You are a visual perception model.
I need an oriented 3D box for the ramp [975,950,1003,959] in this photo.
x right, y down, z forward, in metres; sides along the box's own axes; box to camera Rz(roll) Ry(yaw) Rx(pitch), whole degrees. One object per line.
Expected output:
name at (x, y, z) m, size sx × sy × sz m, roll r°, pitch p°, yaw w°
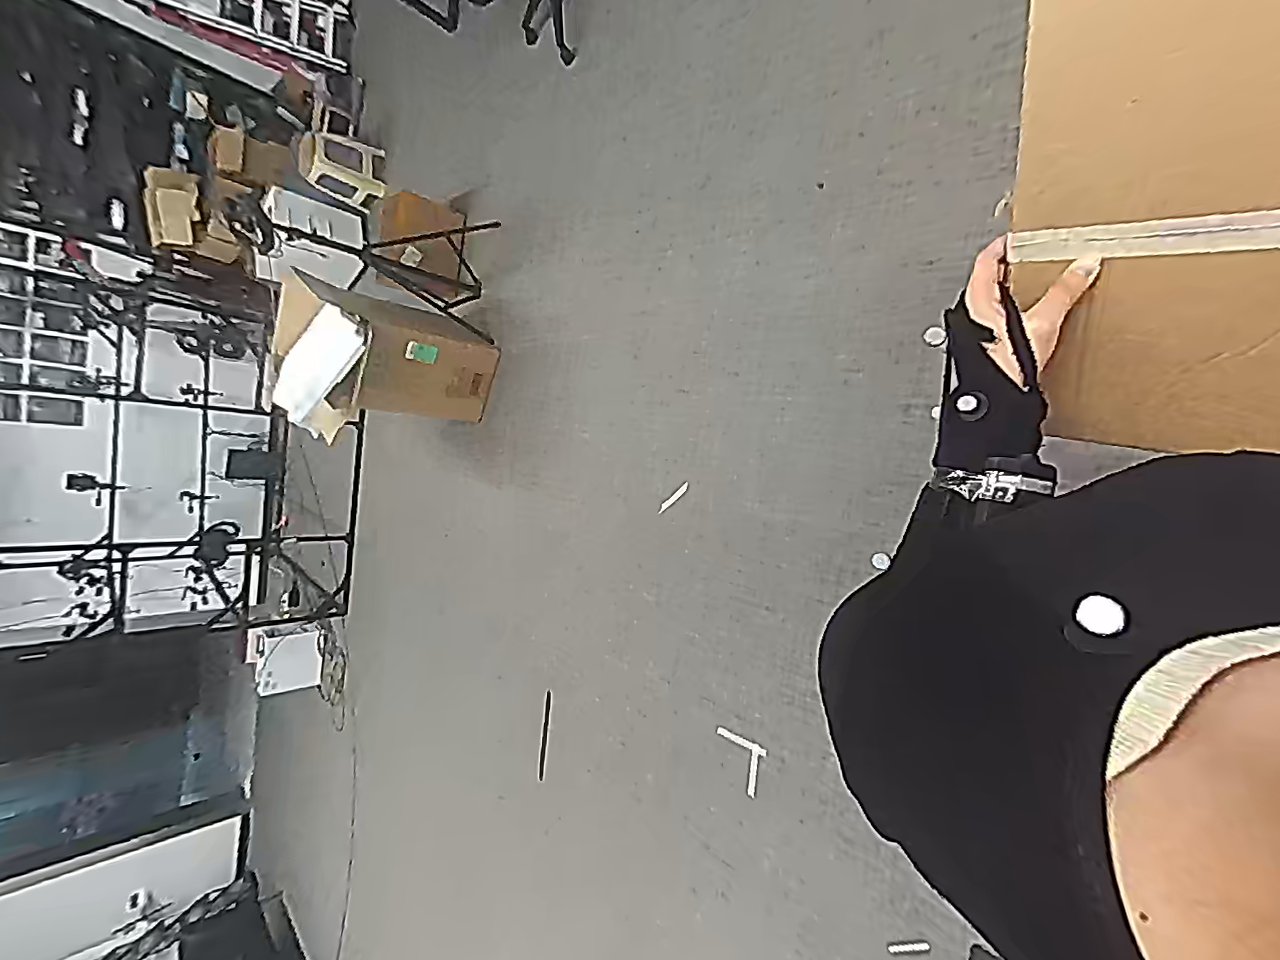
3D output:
ramp at (0.810, 1.550, 1.009) m, size 0.509 × 0.206 × 0.991 m, roll 8°, pitch 93°, yaw 45°

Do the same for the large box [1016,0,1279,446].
large box at (0.513, -0.219, 0.329) m, size 0.408 × 0.320 × 0.320 m, roll 17°, pitch 137°, yaw 45°
